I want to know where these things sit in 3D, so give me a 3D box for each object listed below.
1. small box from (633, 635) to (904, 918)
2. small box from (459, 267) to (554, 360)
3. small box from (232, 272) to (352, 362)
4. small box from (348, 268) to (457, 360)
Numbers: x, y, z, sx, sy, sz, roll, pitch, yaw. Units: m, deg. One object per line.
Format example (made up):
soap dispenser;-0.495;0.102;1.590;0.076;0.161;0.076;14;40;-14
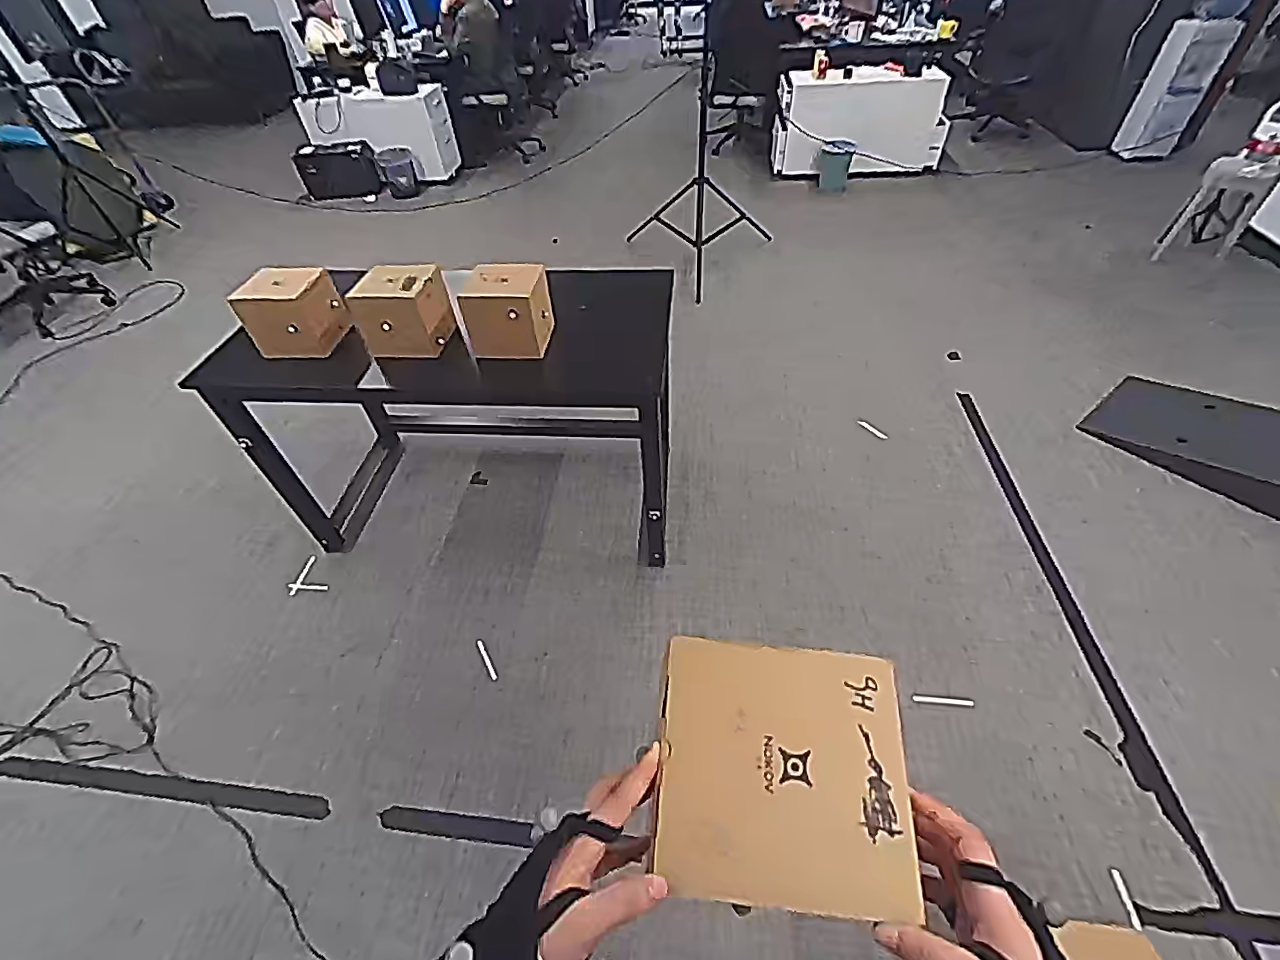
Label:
small box;0.090;0.242;0.455;0.179;0.176;0.168;5;59;3
small box;-0.323;-0.414;1.352;0.179;0.176;0.168;1;46;6
small box;-0.886;-0.421;1.402;0.179;0.176;0.168;0;46;4
small box;-0.592;-0.420;1.378;0.179;0.176;0.168;2;47;7
